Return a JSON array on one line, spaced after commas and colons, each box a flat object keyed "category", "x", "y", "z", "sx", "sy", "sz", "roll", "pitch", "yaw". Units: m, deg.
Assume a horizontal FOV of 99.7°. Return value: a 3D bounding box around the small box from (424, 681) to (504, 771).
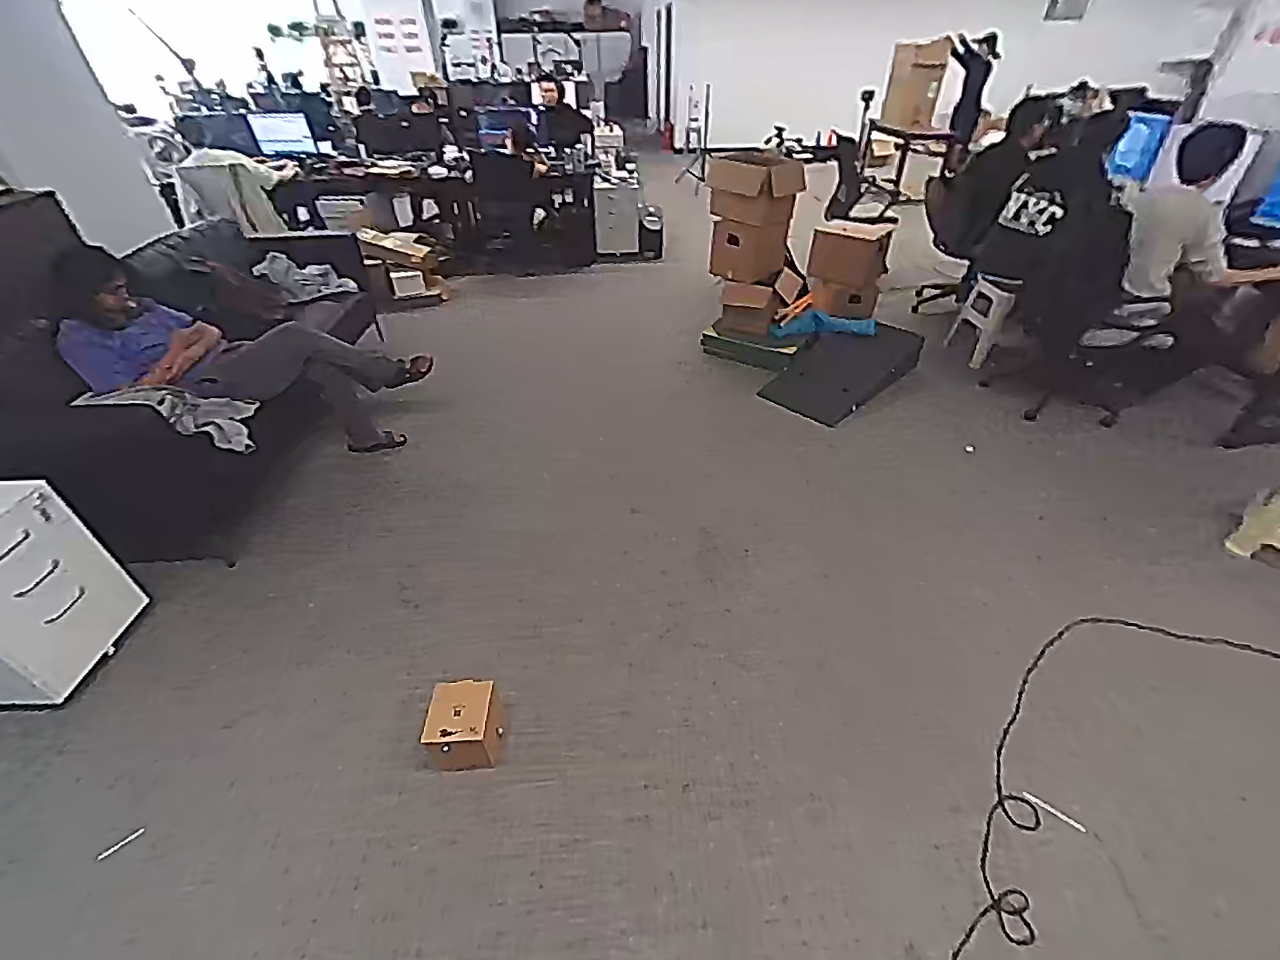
[{"category": "small box", "x": -0.491, "y": 0.699, "z": 1.539, "sx": 0.168, "sy": 0.176, "sz": 0.179, "roll": -2, "pitch": 38, "yaw": 0}]
